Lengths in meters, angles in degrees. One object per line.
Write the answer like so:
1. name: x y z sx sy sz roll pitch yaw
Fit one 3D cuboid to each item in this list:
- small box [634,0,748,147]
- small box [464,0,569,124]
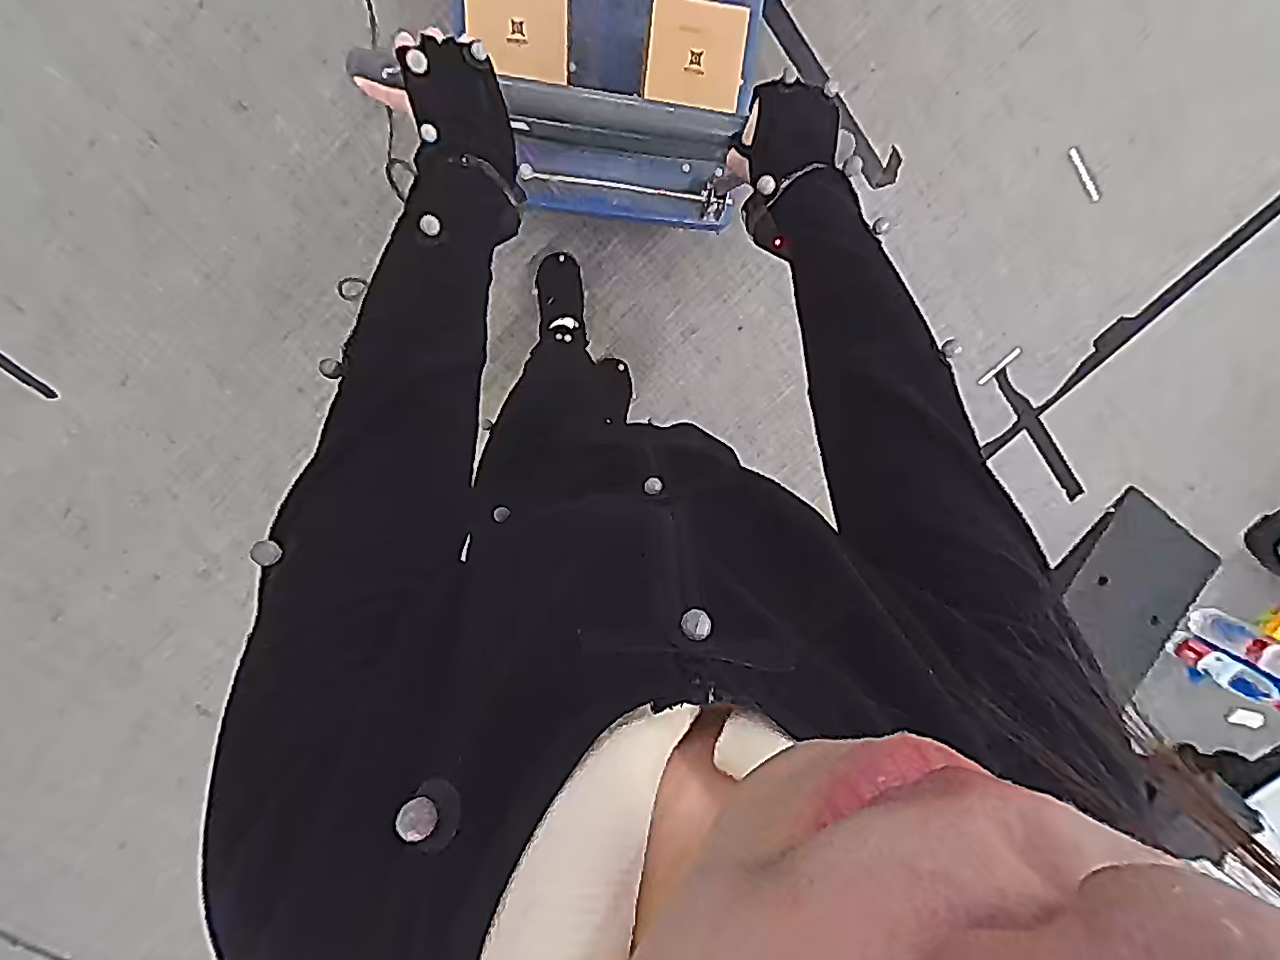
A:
1. small box: 0.084 -0.741 0.997 0.168 0.176 0.179 4 107 -8
2. small box: -0.212 -0.756 0.958 0.168 0.176 0.179 1 108 -7
